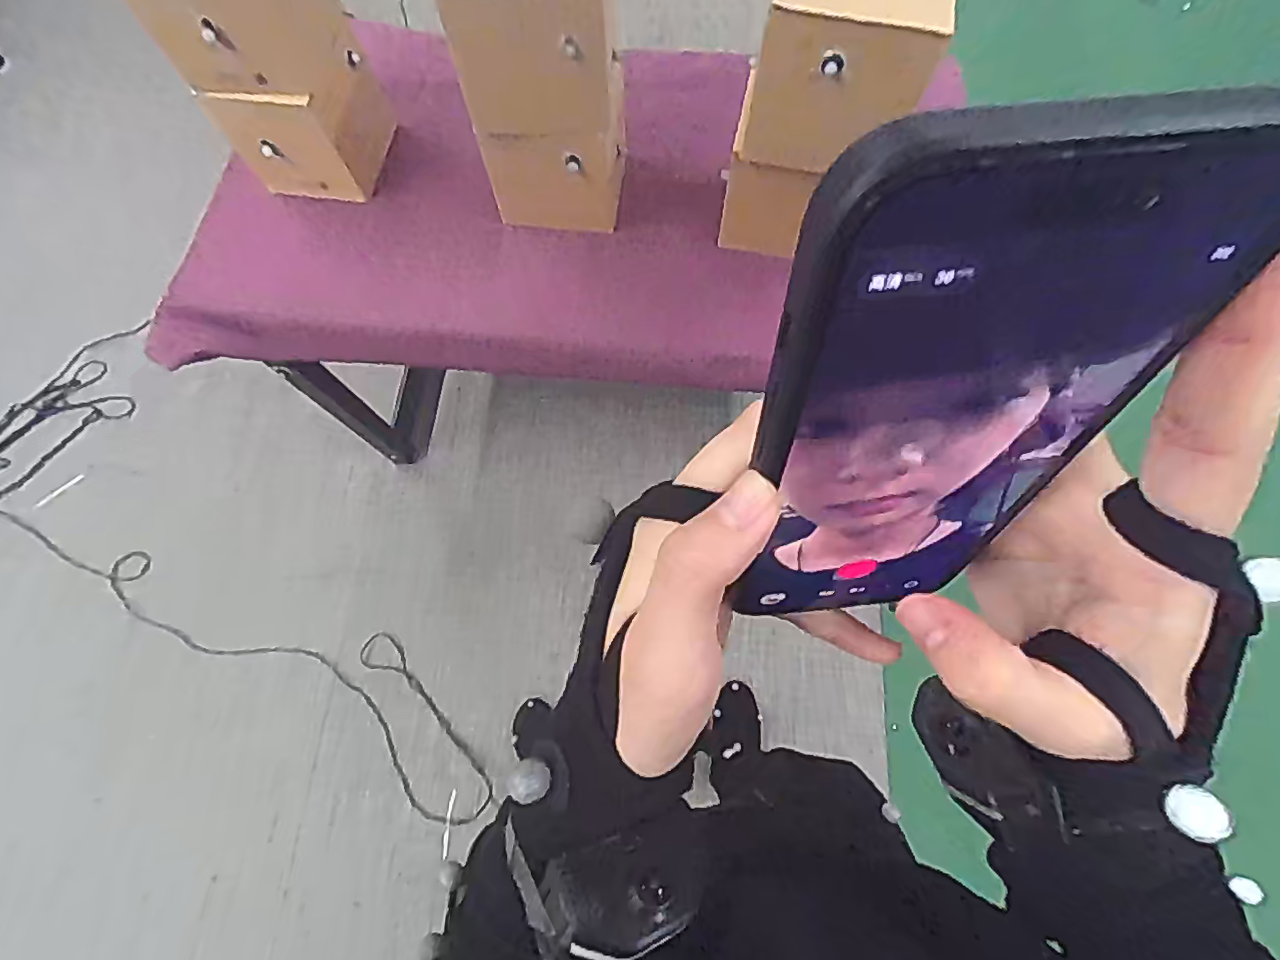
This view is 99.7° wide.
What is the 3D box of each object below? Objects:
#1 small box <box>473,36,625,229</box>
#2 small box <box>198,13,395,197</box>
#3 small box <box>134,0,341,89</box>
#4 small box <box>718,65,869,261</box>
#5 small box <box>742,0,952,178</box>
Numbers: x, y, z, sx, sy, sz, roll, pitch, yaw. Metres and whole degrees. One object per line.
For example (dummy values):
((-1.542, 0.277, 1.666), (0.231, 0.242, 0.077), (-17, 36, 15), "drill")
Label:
((-0.118, -0.497, 0.792), (0.179, 0.176, 0.168), (7, 72, 3), "small box")
((-0.501, -0.564, 0.822), (0.168, 0.176, 0.179), (8, 72, 3), "small box")
((-0.503, -0.623, 0.668), (0.168, 0.176, 0.179), (3, 73, 1), "small box")
((0.218, -0.441, 0.769), (0.179, 0.176, 0.168), (13, 72, 6), "small box")
((0.222, -0.477, 0.609), (0.179, 0.176, 0.168), (13, 72, 5), "small box")
